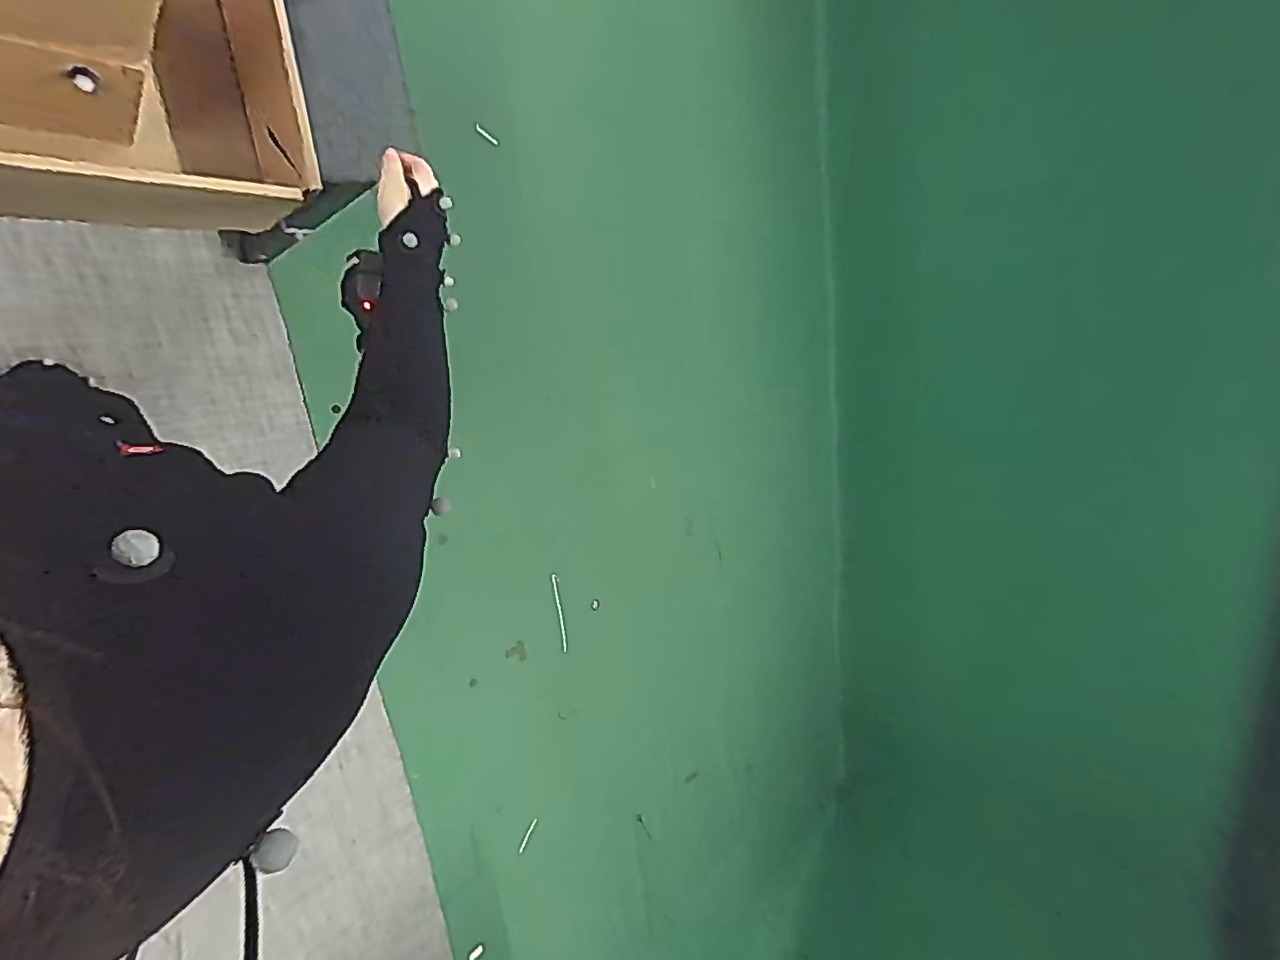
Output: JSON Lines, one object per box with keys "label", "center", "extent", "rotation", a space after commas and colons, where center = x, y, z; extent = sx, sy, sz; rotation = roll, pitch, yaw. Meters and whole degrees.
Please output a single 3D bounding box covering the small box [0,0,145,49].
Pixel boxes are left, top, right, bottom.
{"label": "small box", "center": [-0.410, -0.390, 0.304], "extent": [0.179, 0.176, 0.168], "rotation": [-21, 110, -45]}
